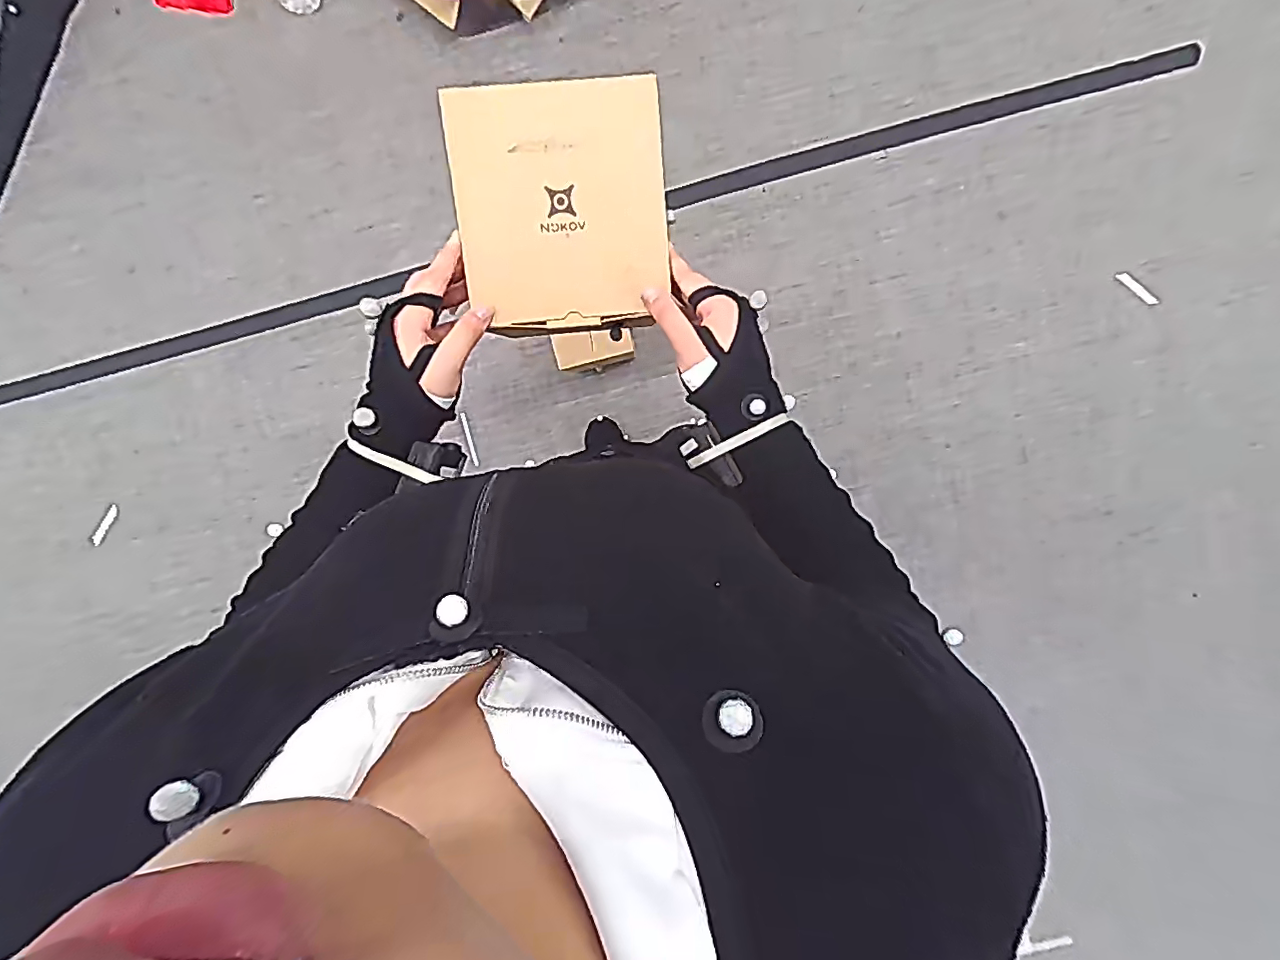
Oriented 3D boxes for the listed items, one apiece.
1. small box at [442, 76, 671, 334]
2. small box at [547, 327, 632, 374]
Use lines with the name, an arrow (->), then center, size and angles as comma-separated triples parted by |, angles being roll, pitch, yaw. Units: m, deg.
small box -> -0.066, -0.232, 0.504 | 0.168, 0.176, 0.179 | -6, 102, -3
small box -> -0.117, -0.340, 1.203 | 0.168, 0.176, 0.179 | -13, 99, 2
